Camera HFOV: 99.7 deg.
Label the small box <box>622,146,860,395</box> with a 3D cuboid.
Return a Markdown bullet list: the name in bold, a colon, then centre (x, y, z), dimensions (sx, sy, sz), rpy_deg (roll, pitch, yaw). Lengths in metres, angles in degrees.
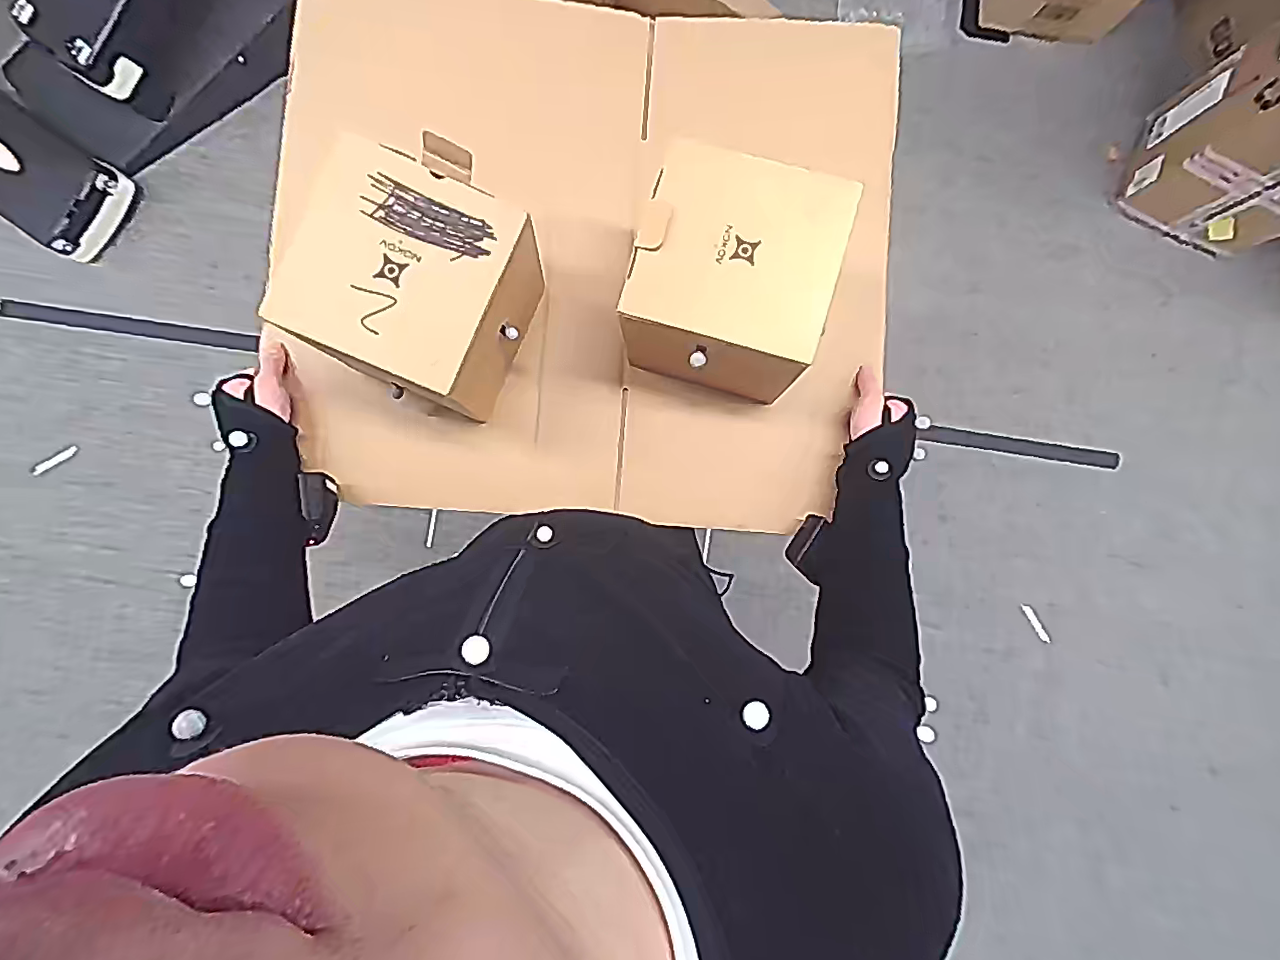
- **small box**: centre (0.094, -0.196, 0.558), dimensions (0.179, 0.176, 0.168), rpy_deg (17, 88, 5)
